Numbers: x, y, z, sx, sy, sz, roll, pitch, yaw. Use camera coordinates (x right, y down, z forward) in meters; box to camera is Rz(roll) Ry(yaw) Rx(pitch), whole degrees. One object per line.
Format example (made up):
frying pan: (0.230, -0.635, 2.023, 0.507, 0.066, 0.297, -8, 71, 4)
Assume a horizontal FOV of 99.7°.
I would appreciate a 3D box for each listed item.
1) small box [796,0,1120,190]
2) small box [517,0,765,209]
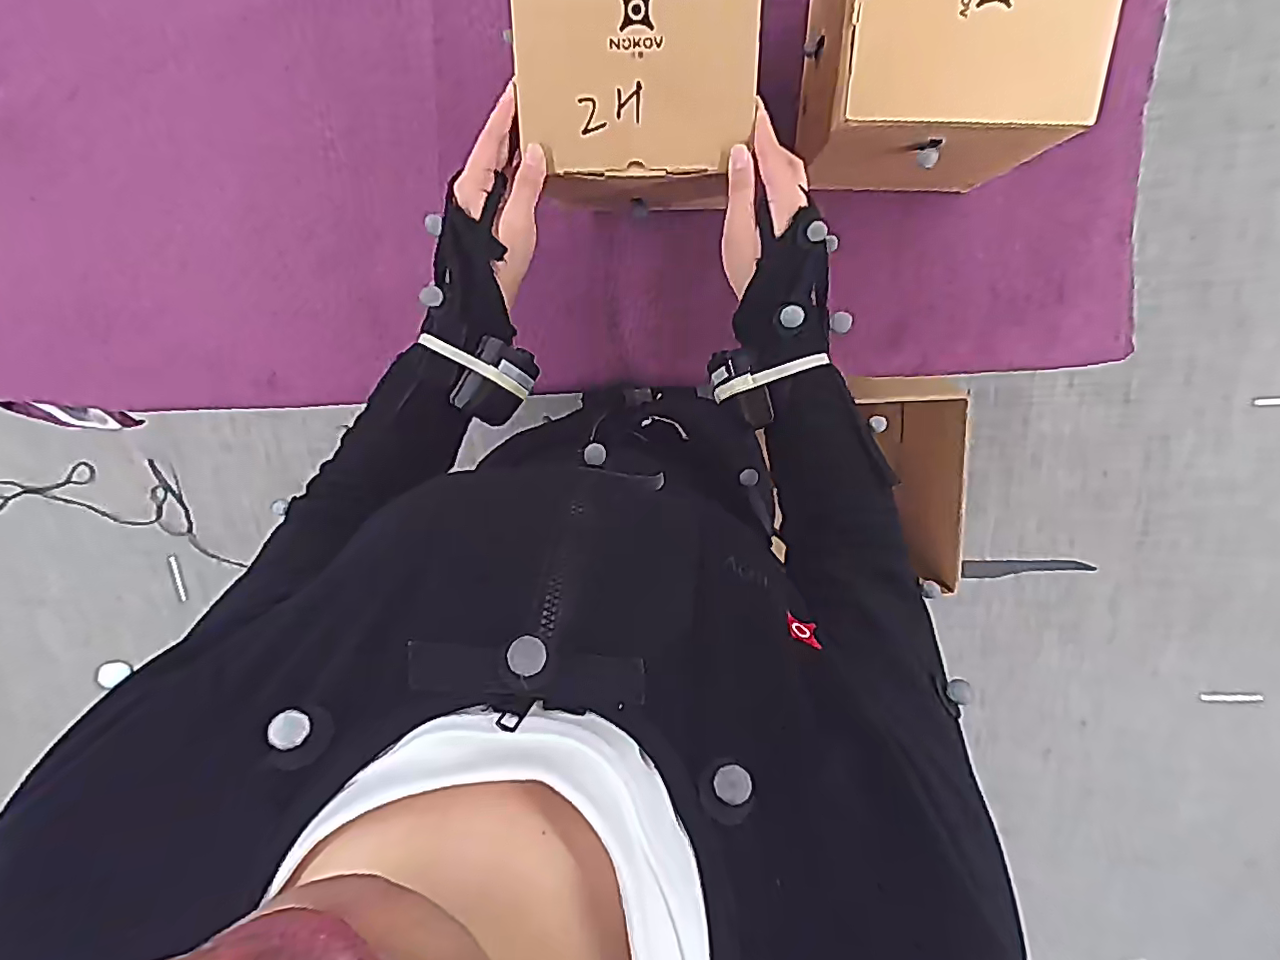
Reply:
small box: (0.241, -0.351, 0.442, 0.179, 0.176, 0.168, 3, 104, 3)
small box: (0.003, -0.327, 0.432, 0.168, 0.176, 0.179, 1, 109, 3)
